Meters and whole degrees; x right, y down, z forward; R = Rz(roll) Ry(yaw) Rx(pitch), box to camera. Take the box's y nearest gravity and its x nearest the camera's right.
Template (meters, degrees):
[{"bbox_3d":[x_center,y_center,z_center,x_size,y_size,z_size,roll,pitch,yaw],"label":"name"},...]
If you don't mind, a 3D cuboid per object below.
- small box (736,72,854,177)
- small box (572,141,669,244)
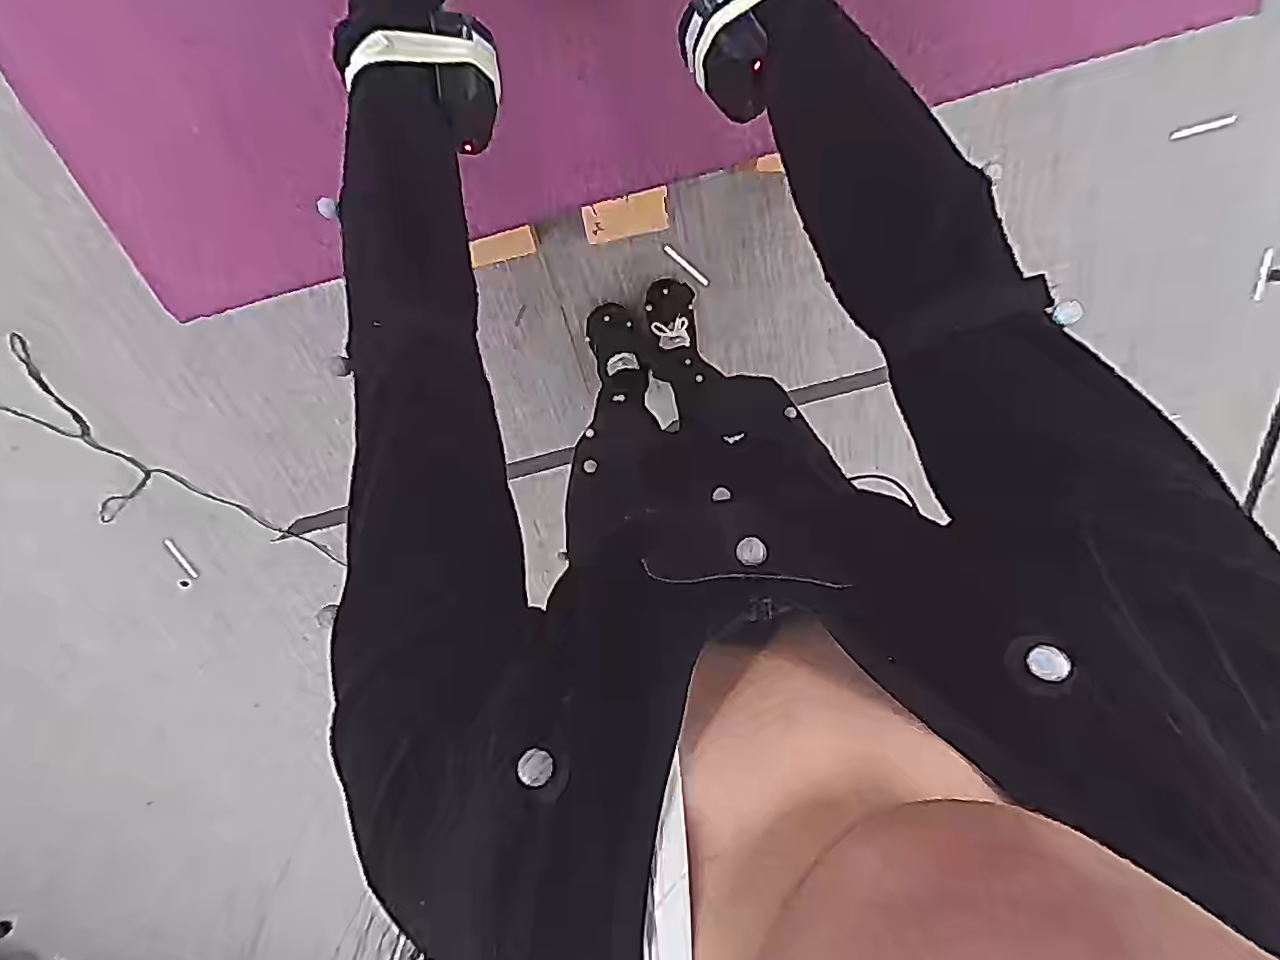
[{"bbox_3d":[0.315,-0.737,1.135,0.179,0.176,0.168,0,118,-5],"label":"small box"},{"bbox_3d":[-0.045,-0.616,1.159,0.179,0.176,0.168,-11,119,0],"label":"small box"}]
